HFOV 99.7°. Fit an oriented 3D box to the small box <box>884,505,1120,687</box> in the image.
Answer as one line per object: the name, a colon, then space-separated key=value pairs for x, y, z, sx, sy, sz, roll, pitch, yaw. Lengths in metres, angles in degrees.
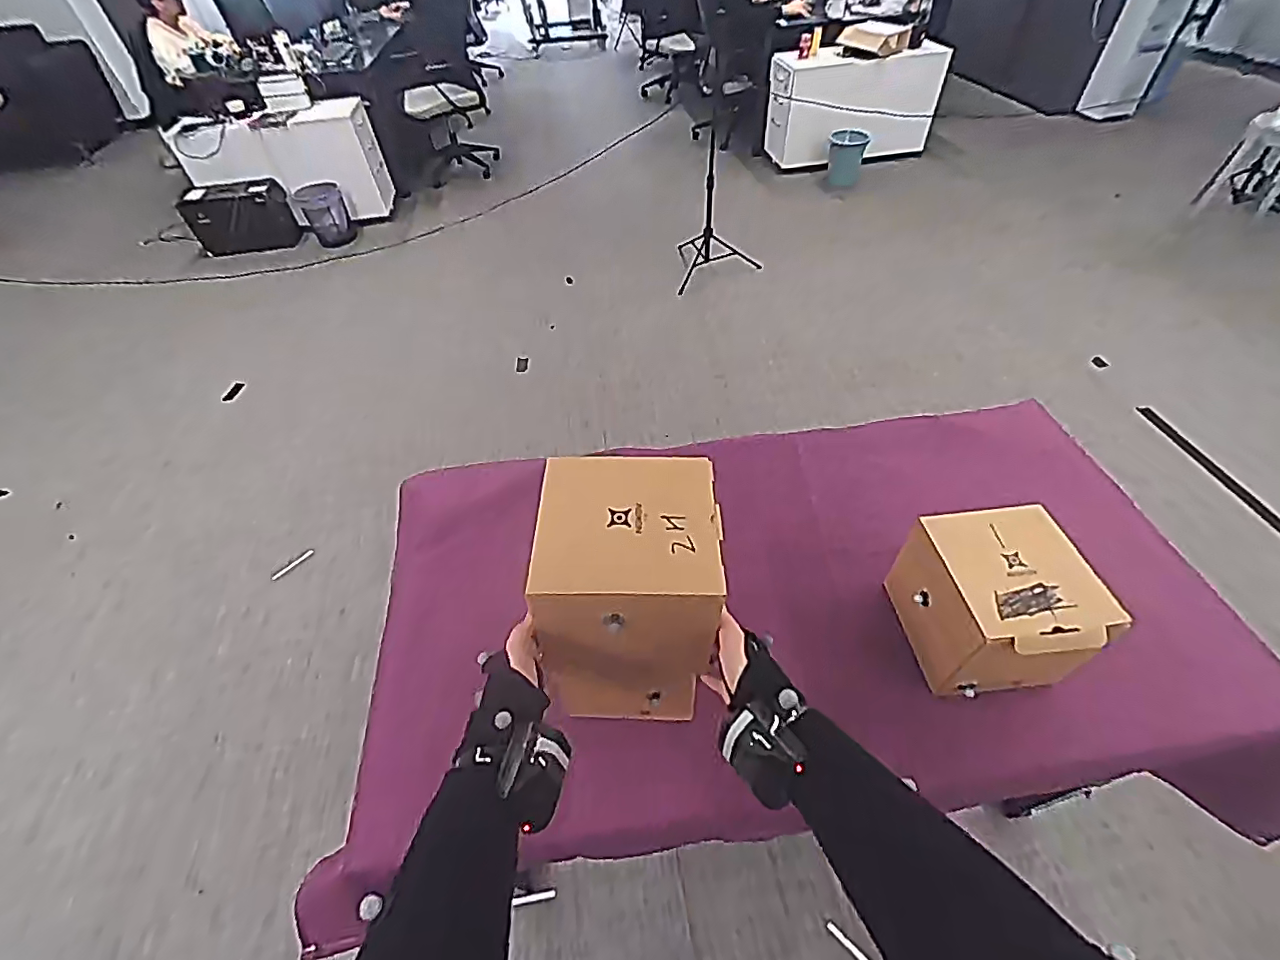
small box: x=0.449 y=0.158 z=0.709 sx=0.168 sy=0.176 sz=0.179 roll=-6 pitch=48 yaw=-1

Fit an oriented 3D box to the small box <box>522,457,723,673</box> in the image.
small box: x=-0.015 y=0.093 z=0.573 sx=0.179 sy=0.176 sz=0.168 roll=1 pitch=48 yaw=-1

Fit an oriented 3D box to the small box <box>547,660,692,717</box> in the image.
small box: x=-0.014 y=0.196 z=0.709 sx=0.168 sy=0.176 sz=0.179 roll=1 pitch=49 yaw=4
